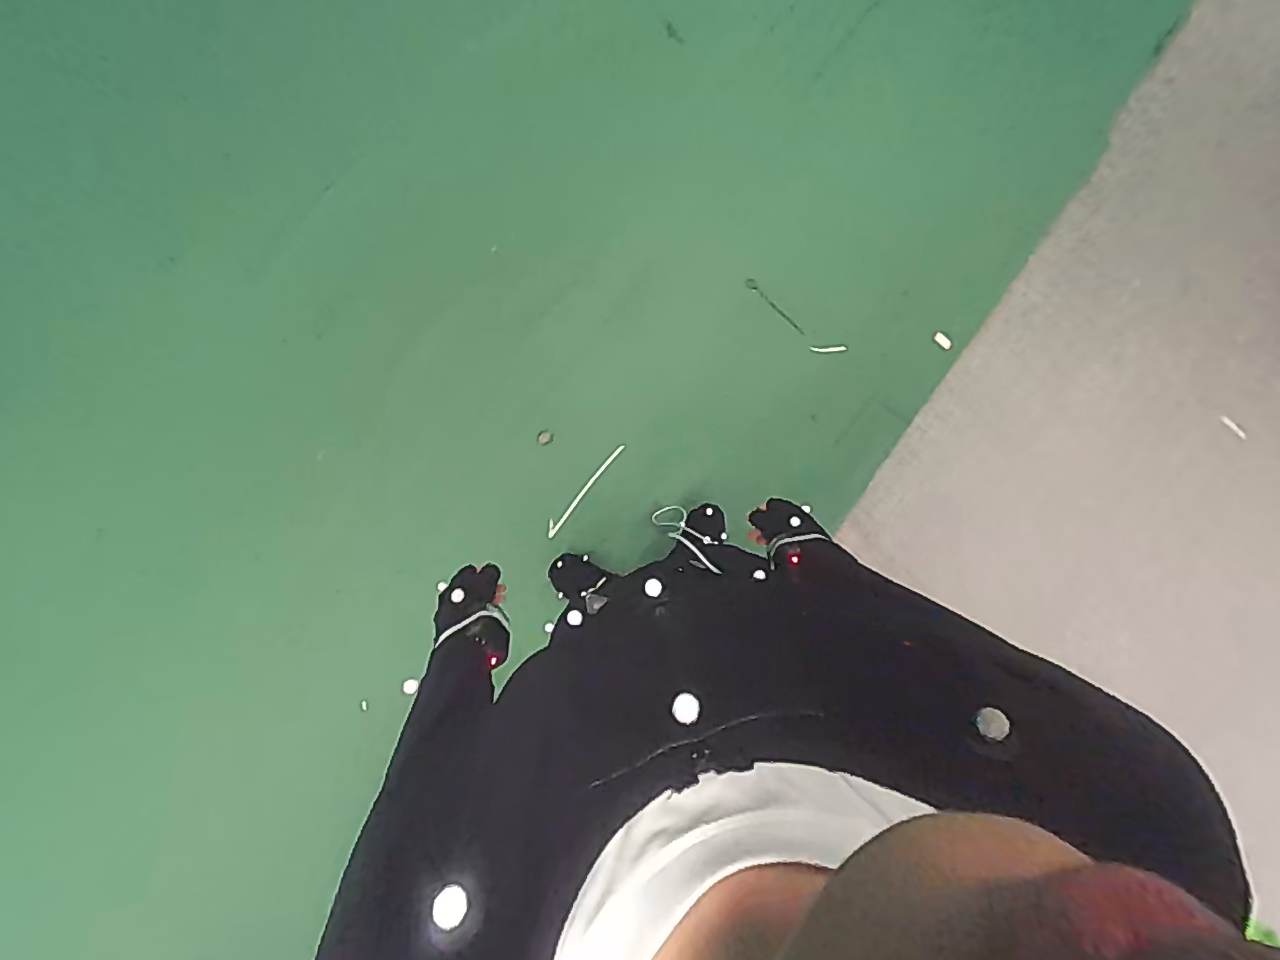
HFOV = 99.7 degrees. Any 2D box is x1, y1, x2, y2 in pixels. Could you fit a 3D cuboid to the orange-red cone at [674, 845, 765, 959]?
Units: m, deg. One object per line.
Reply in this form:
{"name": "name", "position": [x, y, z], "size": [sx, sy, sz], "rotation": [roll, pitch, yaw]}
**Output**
{"name": "orange-red cone", "position": [0.235, 1.104, 1.285], "size": [0.199, 0.360, 0.198], "rotation": [38, 84, -4]}
